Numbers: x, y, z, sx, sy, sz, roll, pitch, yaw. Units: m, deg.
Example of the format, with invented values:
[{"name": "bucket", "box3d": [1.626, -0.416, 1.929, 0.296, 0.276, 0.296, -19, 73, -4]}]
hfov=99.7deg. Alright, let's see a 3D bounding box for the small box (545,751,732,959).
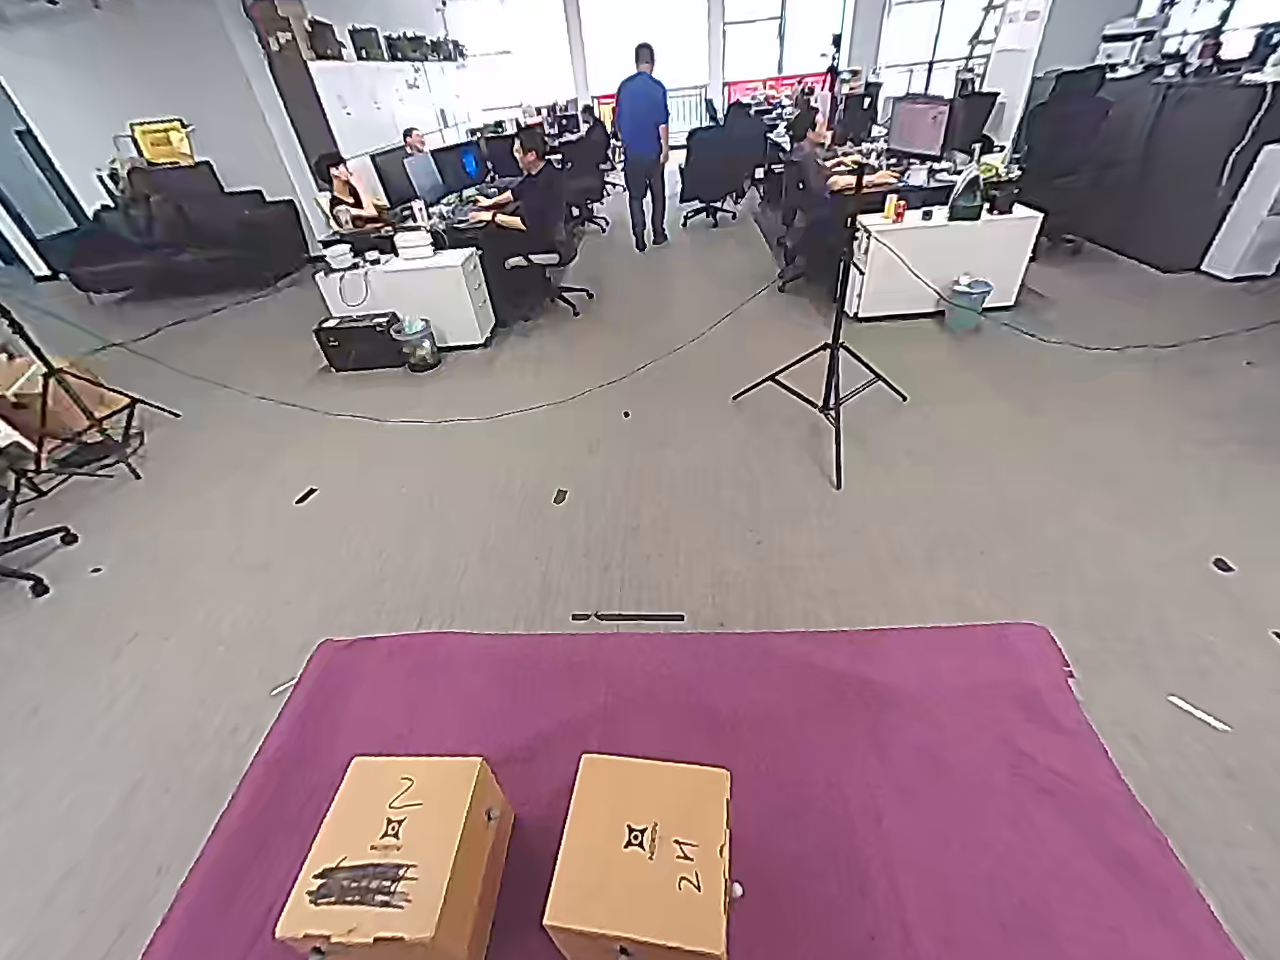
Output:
[{"name": "small box", "box3d": [0.013, 0.436, 0.612, 0.179, 0.176, 0.168, 2, 38, 10]}]
